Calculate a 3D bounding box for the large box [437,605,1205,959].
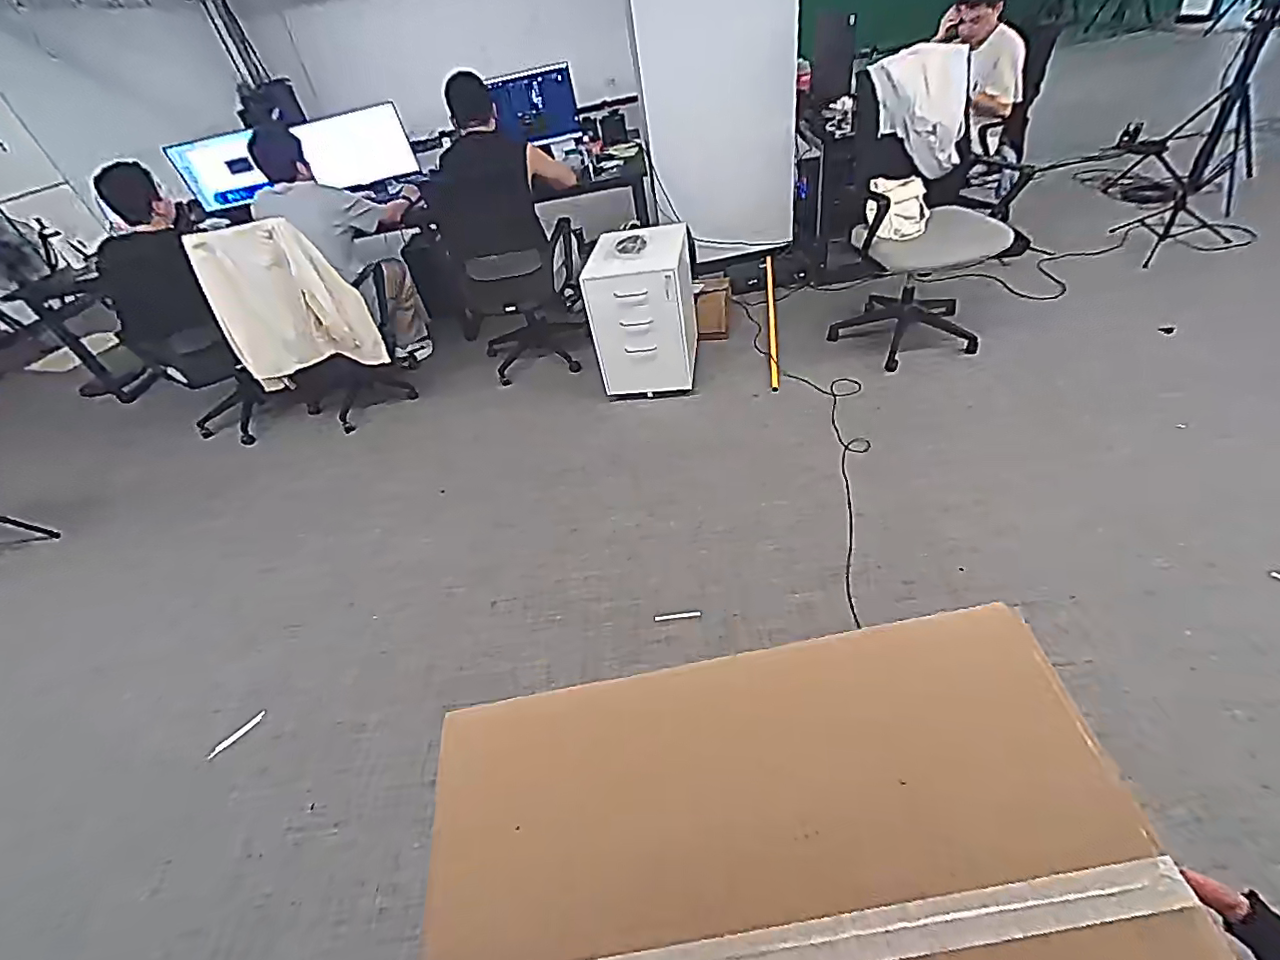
[{"bbox_3d":[0.105,0.336,0.411,0.408,0.320,0.320,-13,51,3],"label":"large box"}]
